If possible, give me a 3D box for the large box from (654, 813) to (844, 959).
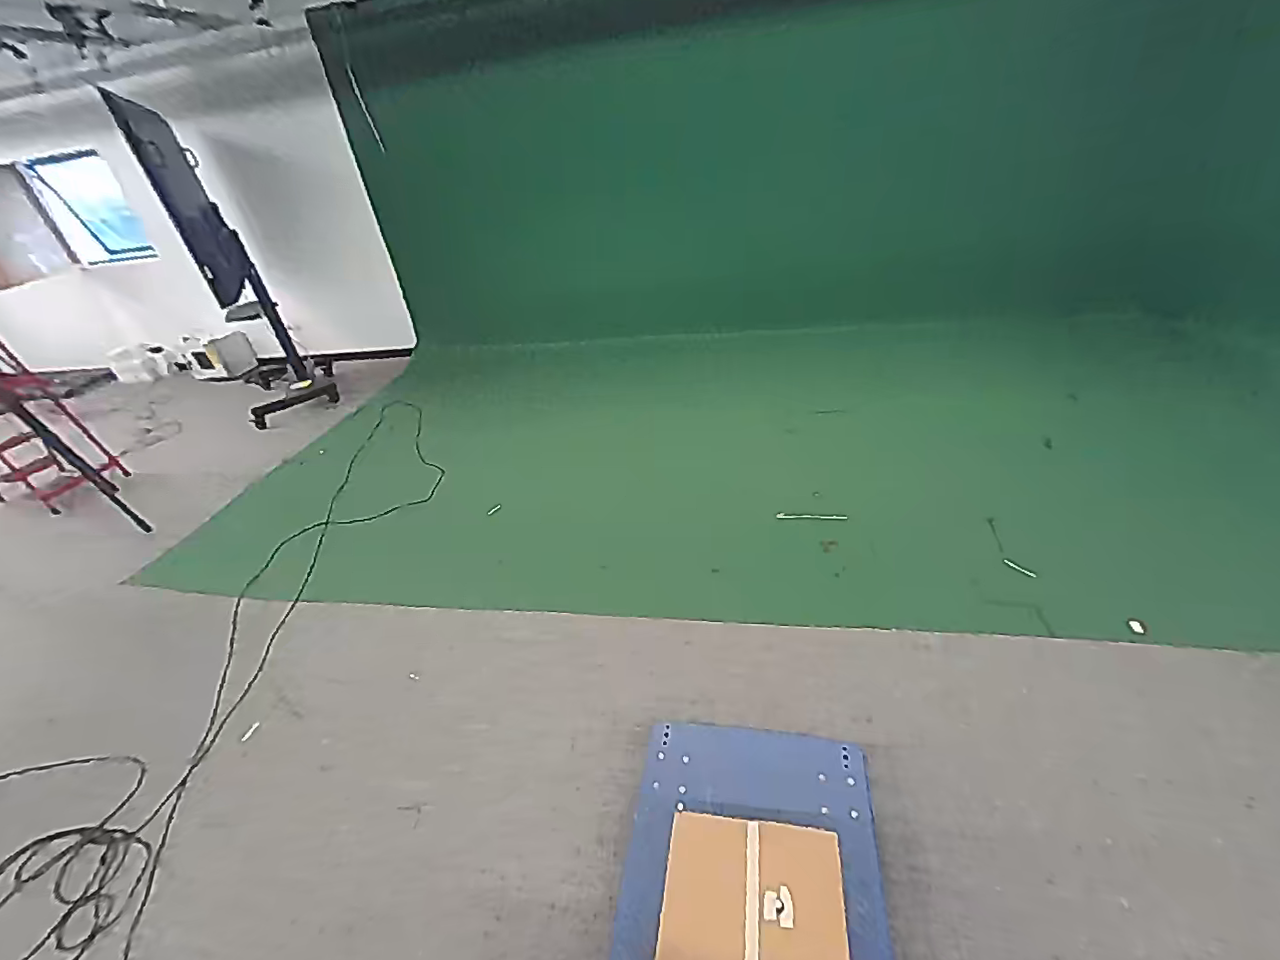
[{"bbox_3d":[0.201,0.910,0.984,0.320,0.320,0.408,0,33,13],"label":"large box"}]
